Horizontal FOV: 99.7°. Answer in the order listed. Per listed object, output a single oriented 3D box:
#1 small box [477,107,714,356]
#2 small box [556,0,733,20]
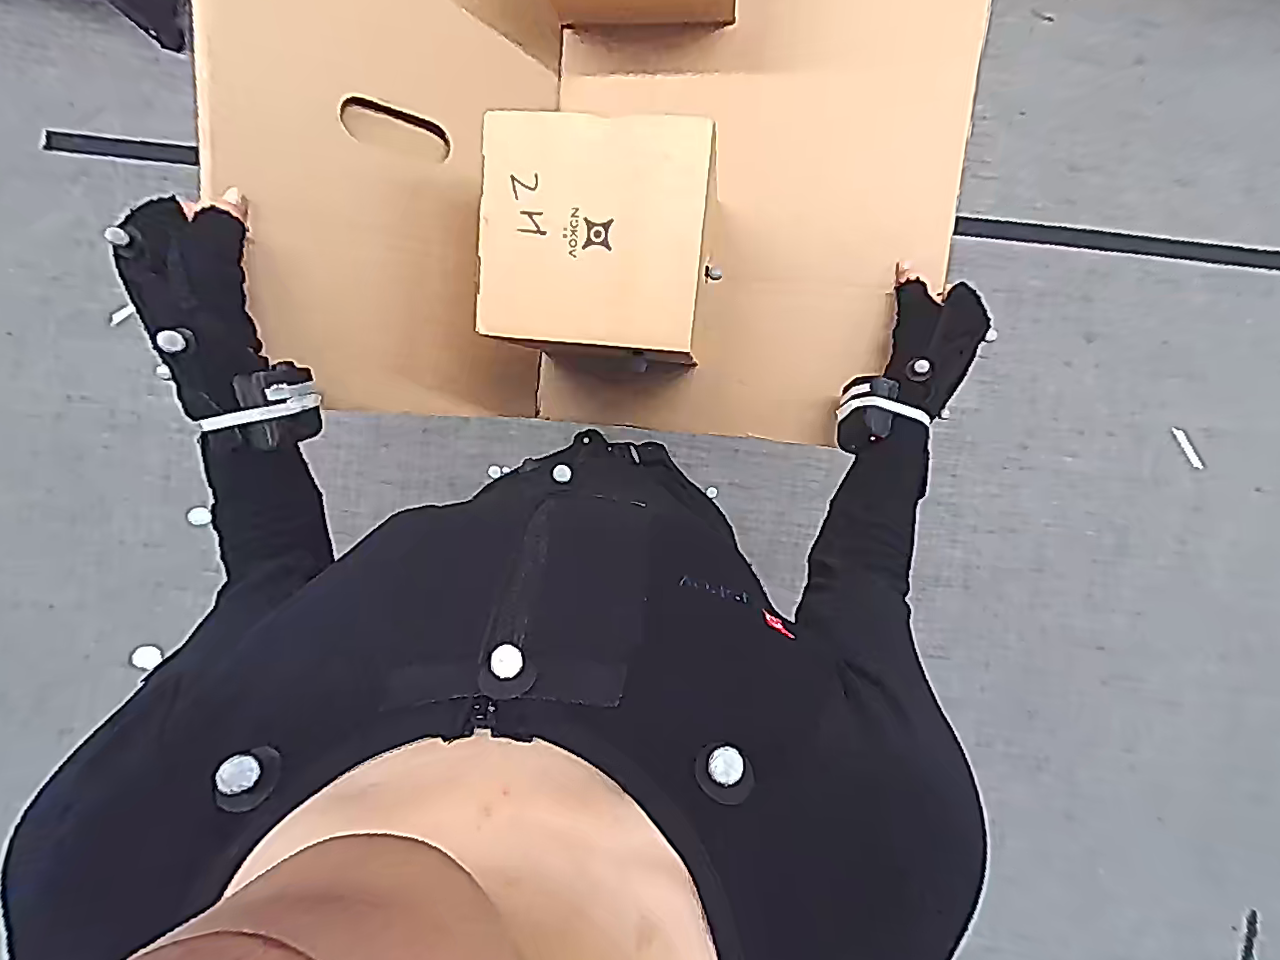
[{"bbox_3d":[-0.028,-0.207,0.495,0.179,0.176,0.168,7,100,8],"label":"small box"},{"bbox_3d":[-0.003,-0.520,0.441,0.179,0.176,0.168,5,100,7],"label":"small box"}]
